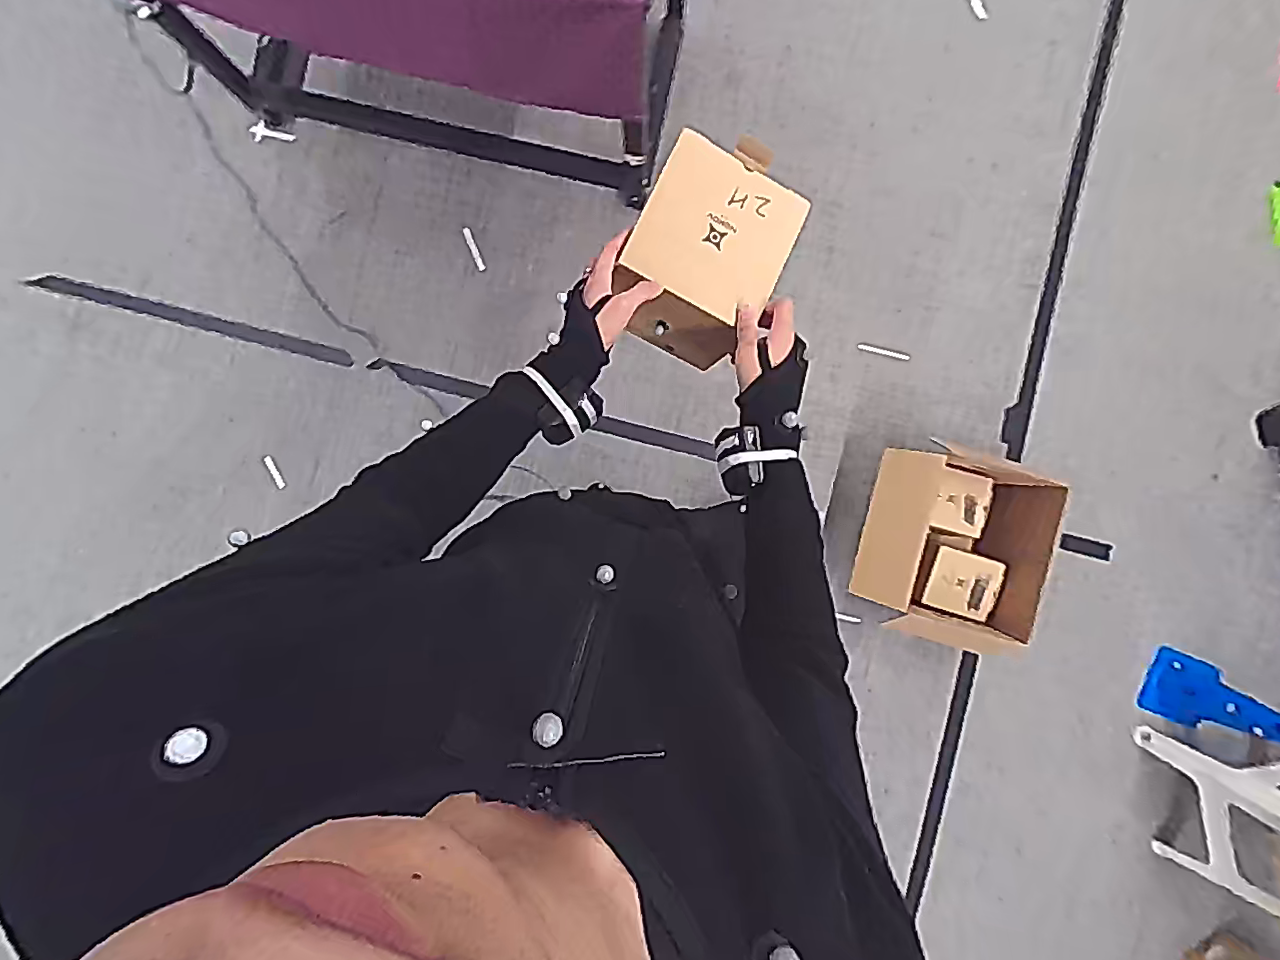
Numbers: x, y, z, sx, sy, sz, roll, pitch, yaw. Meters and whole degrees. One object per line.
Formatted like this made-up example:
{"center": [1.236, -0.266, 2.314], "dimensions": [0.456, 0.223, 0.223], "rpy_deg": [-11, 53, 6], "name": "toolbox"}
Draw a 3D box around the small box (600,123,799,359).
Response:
{"center": [0.059, -0.273, 0.666], "dimensions": [0.168, 0.176, 0.179], "rpy_deg": [25, 82, -9], "name": "small box"}
